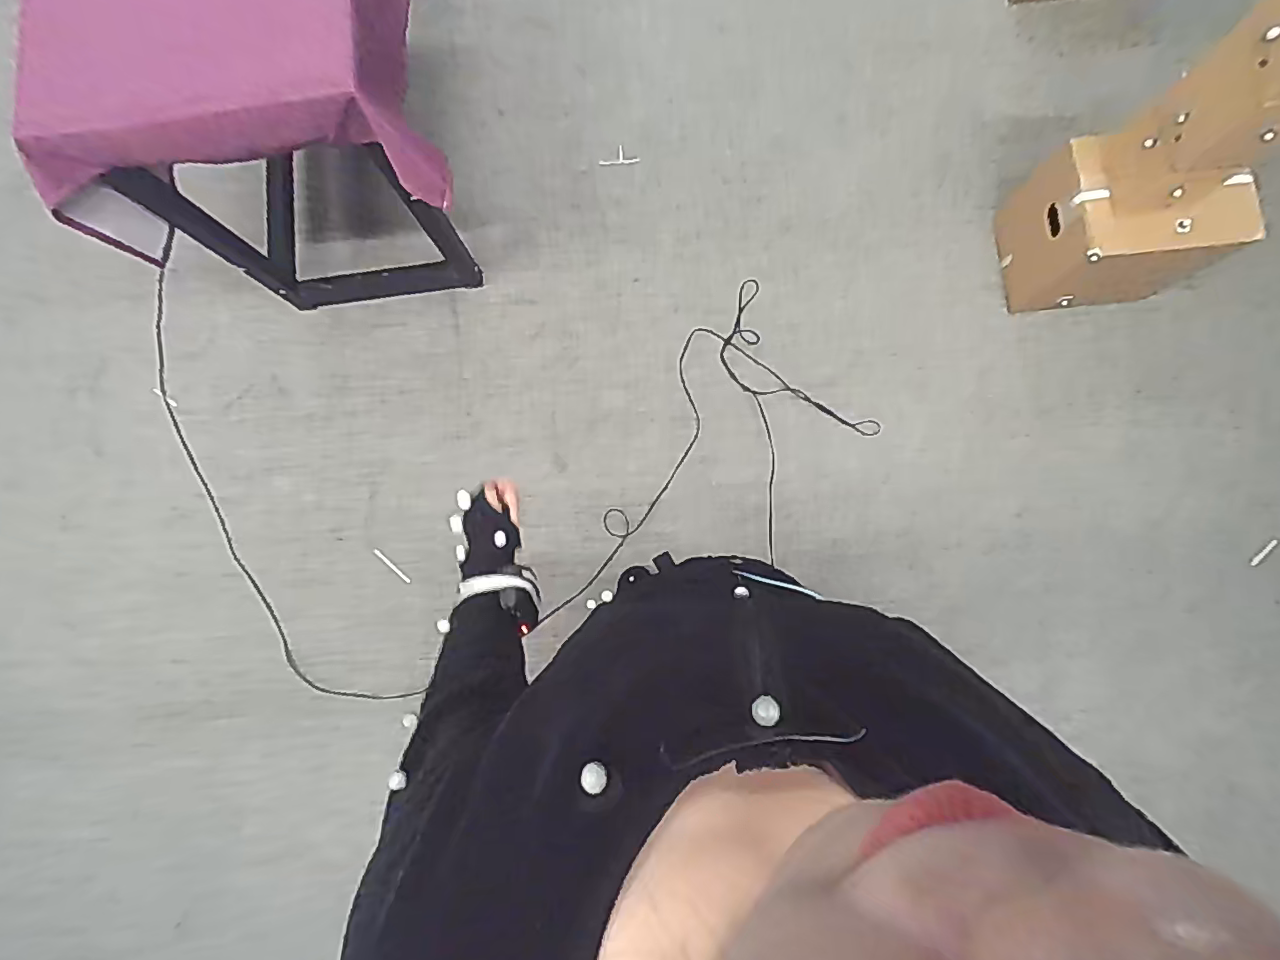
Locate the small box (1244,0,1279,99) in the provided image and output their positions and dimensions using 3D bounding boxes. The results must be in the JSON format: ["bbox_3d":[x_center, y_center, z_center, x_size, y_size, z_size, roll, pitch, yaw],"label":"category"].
[{"bbox_3d":[1.169,-0.761,0.878,0.179,0.176,0.168,-3,82,3],"label":"small box"}]

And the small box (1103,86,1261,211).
[{"bbox_3d":[1.192,-0.725,1.205,0.168,0.176,0.179,-6,81,1],"label":"small box"}]
